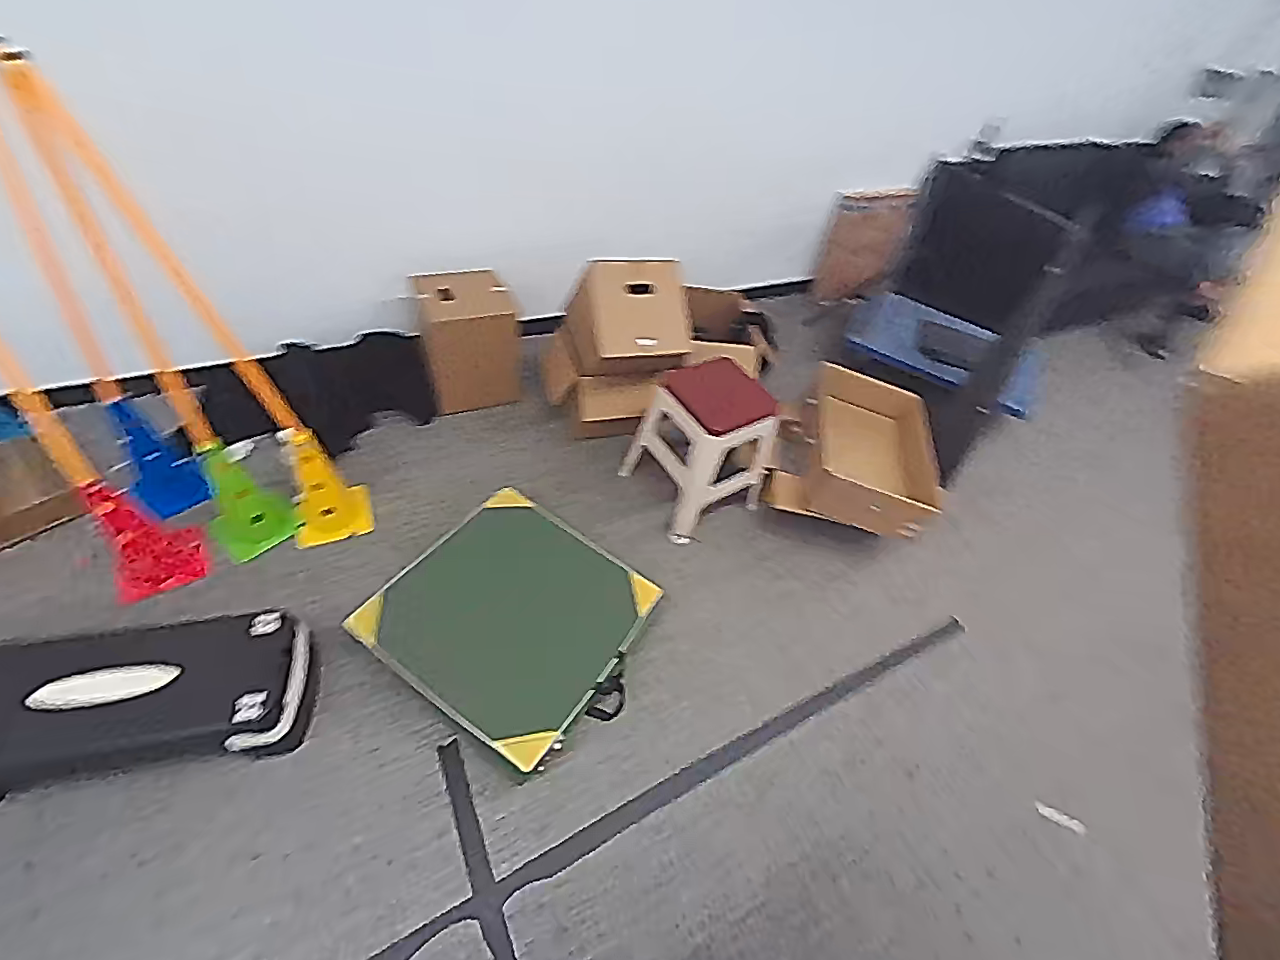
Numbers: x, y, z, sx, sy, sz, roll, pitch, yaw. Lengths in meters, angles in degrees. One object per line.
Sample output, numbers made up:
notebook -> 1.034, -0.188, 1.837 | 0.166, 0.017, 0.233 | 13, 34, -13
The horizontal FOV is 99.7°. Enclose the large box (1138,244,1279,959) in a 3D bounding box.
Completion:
large box -> 0.453, 0.087, 0.204 | 0.320, 0.408, 0.320 | -32, 18, -31
